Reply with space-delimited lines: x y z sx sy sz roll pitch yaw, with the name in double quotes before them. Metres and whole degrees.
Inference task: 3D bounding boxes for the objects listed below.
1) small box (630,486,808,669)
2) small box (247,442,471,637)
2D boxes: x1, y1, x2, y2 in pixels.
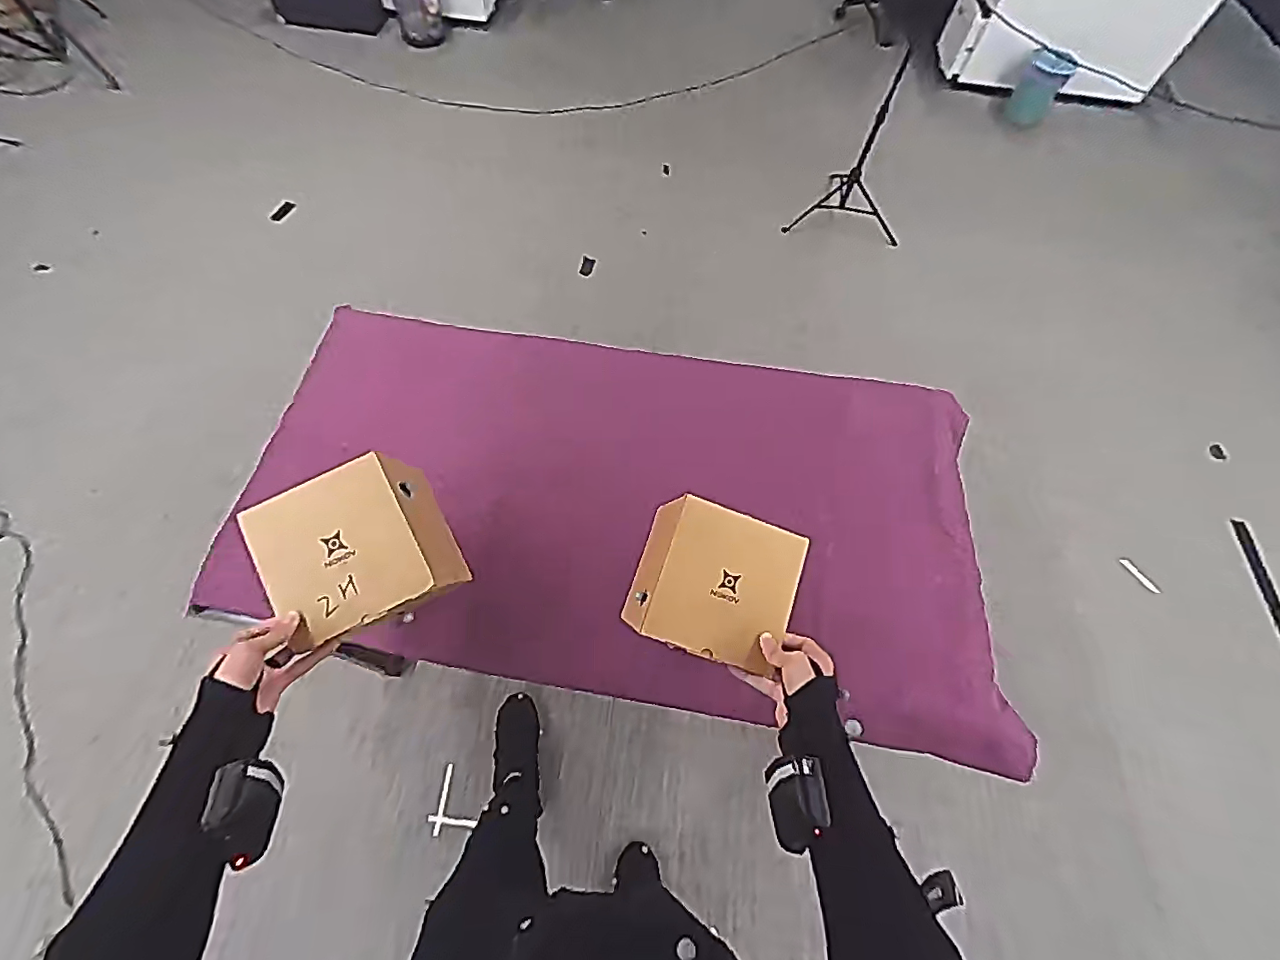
"small box" 0.093 0.125 0.721 0.168 0.176 0.179 21 80 -5
"small box" -0.340 0.076 0.689 0.168 0.176 0.179 -25 85 -6
